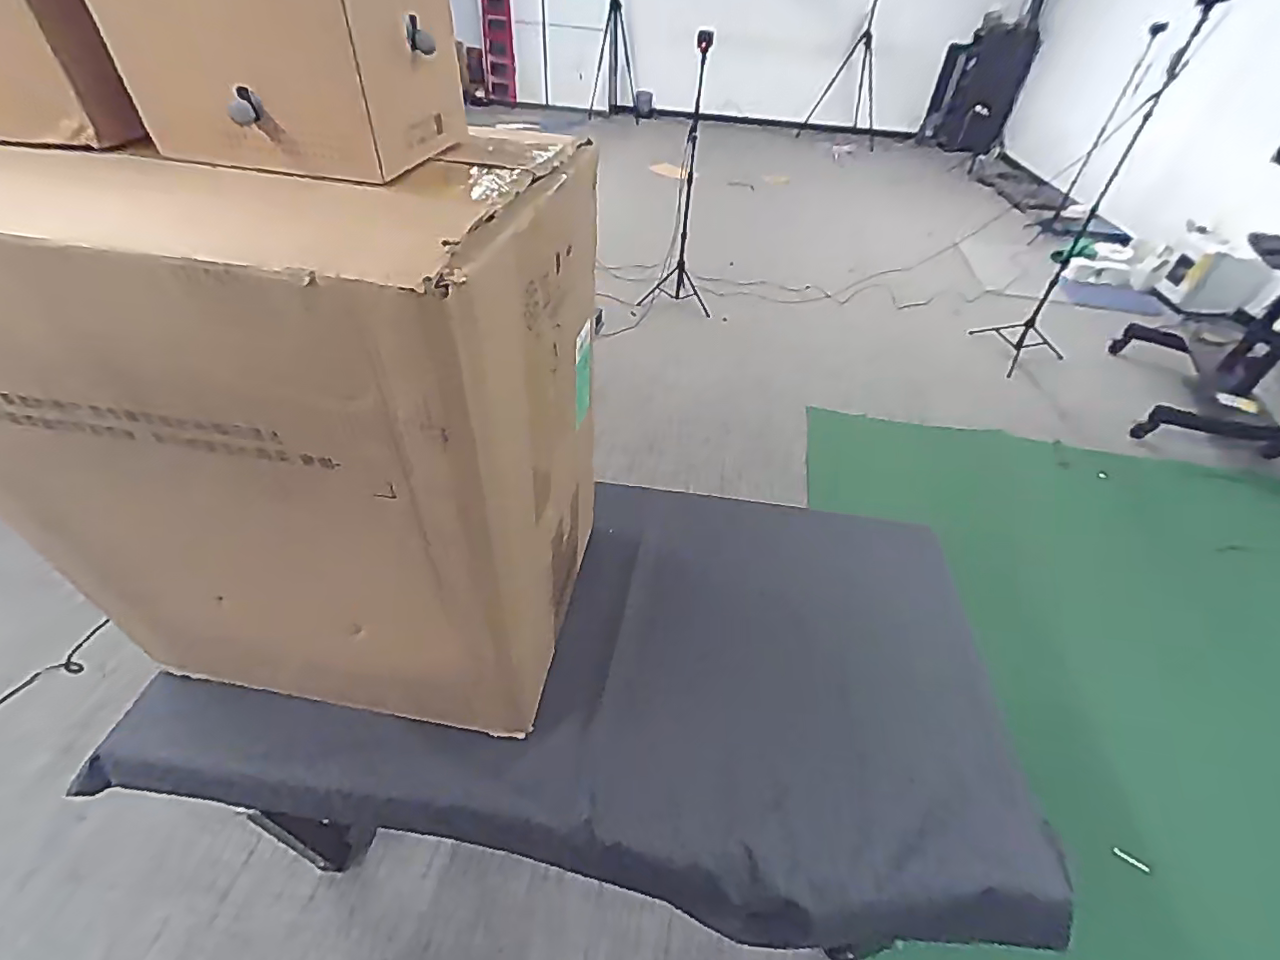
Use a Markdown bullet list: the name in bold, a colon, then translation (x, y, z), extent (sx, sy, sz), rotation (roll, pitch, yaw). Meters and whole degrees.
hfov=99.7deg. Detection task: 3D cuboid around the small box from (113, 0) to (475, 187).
- **small box**: translation (-0.241, -0.335, 0.405), extent (0.179, 0.176, 0.168), rotation (8, 43, 4)
